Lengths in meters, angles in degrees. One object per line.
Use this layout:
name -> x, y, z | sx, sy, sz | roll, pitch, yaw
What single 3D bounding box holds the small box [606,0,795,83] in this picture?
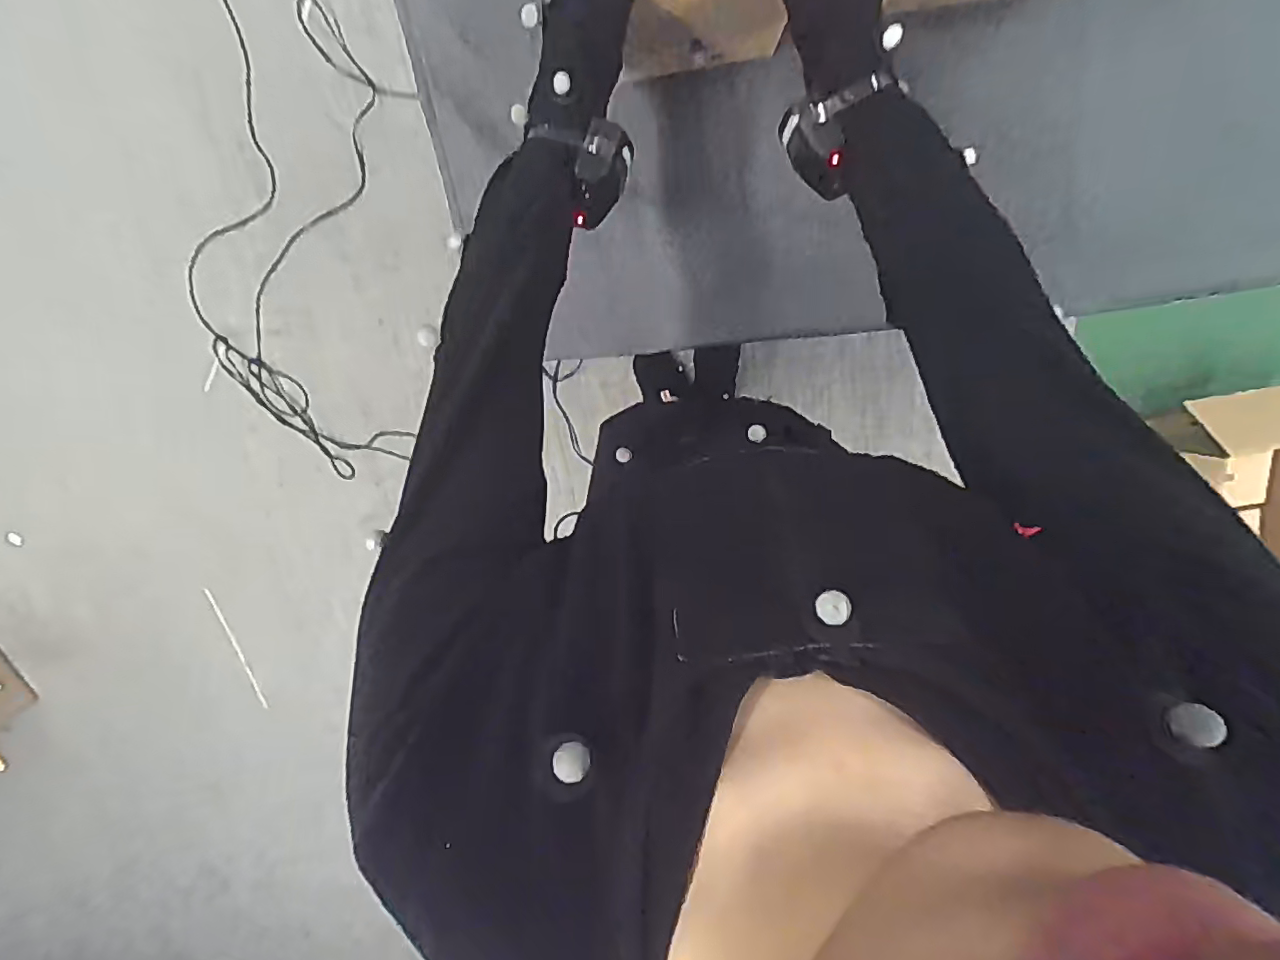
small box -> 0.045, -0.497, 0.479 | 0.168, 0.176, 0.179 | -6, 107, 5
